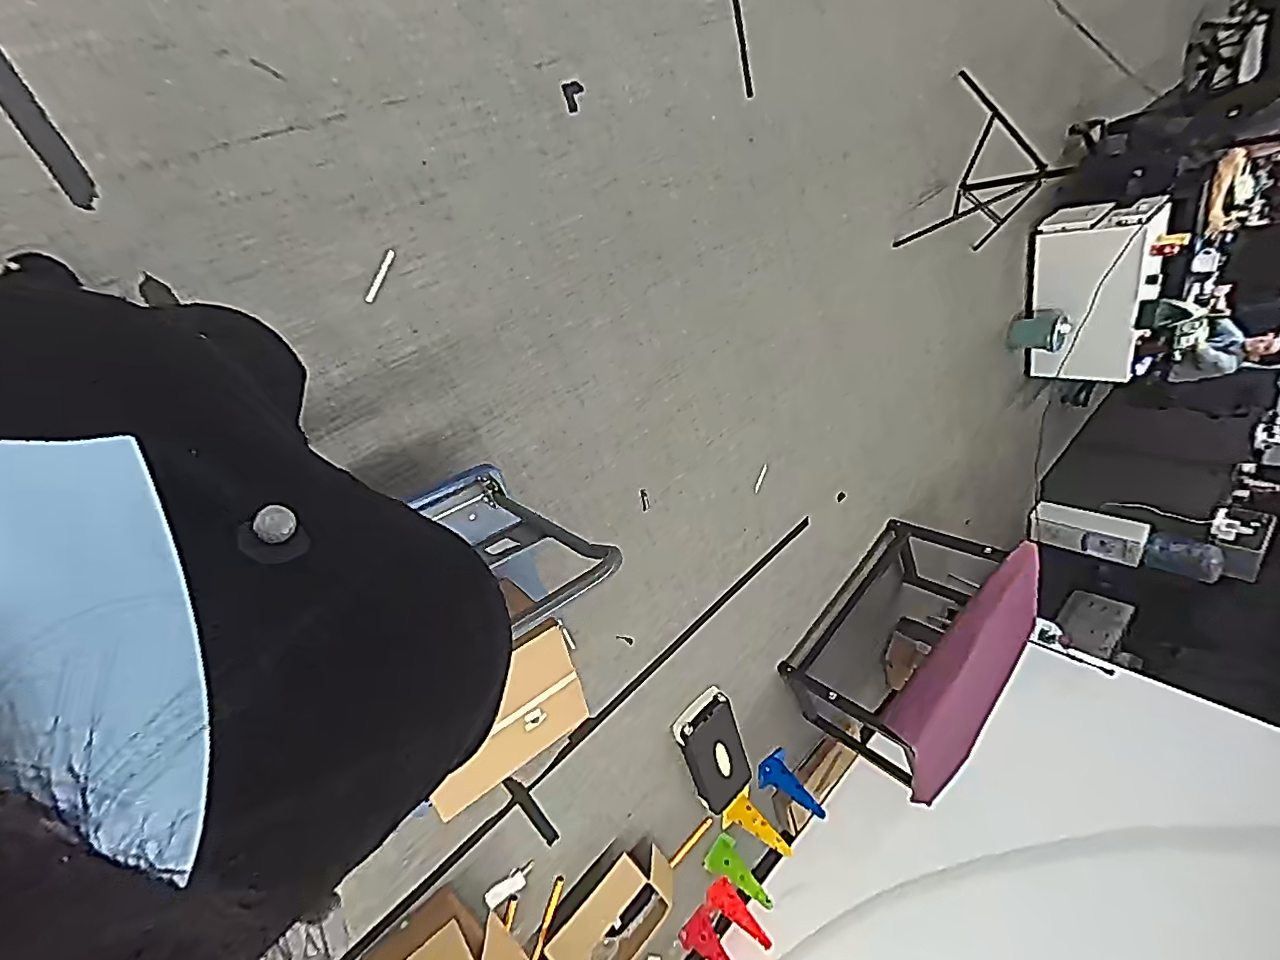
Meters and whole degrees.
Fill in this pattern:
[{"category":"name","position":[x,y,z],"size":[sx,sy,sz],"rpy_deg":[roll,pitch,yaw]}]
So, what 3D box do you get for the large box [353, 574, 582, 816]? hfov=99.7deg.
[{"category":"large box","position":[-0.420,0.500,1.342],"size":[0.408,0.320,0.320],"rpy_deg":[-28,120,-31]}]
